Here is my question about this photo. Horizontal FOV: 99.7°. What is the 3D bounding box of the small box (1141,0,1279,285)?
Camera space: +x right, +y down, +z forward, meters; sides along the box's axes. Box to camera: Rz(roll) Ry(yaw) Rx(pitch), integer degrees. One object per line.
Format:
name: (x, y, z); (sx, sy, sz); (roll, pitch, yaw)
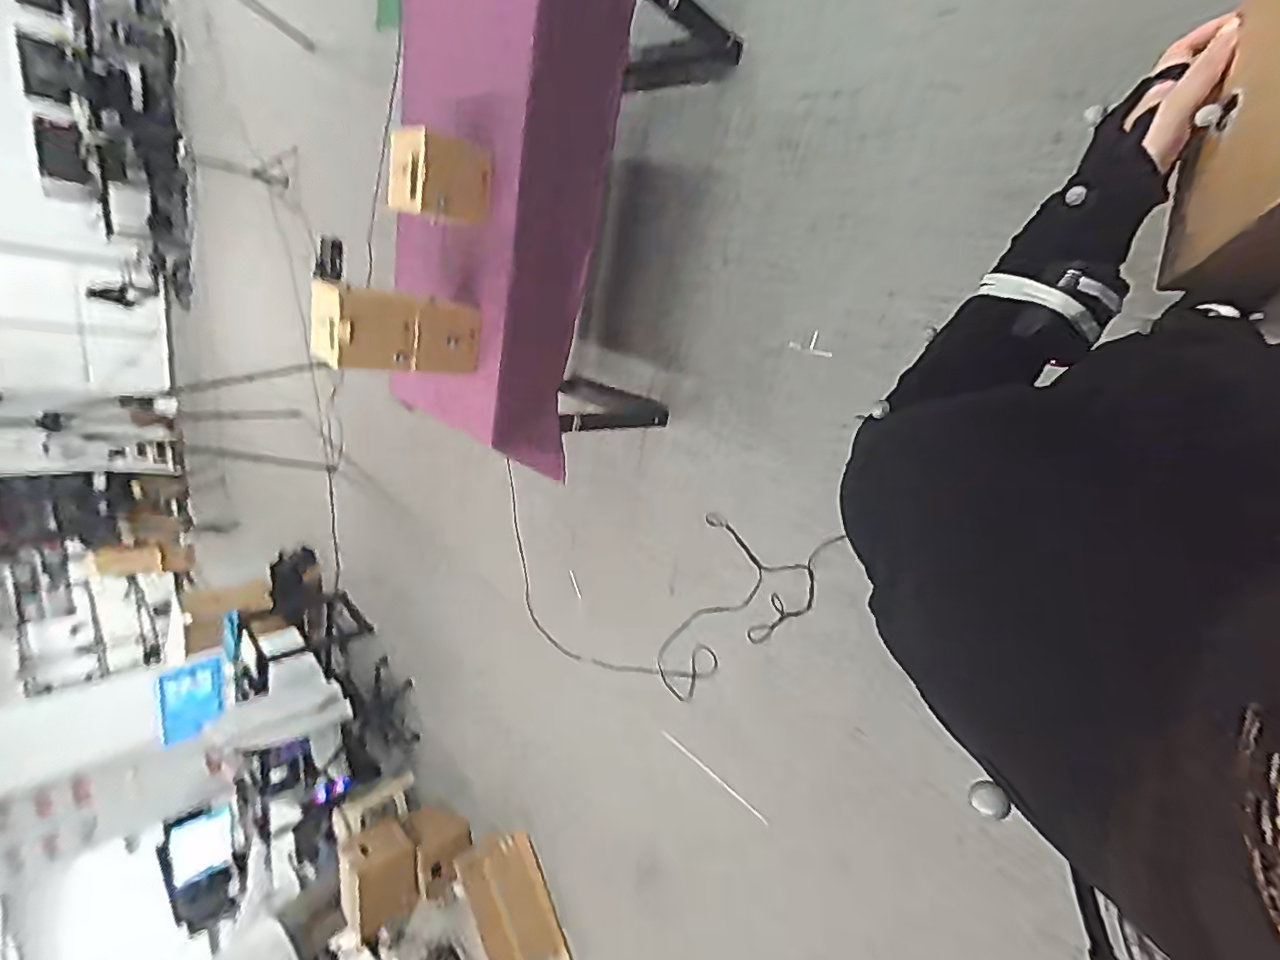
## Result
small box: (0.433, -0.215, 0.307); (0.179, 0.176, 0.168); (9, 98, 26)

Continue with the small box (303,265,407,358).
small box: (-0.659, -0.385, 1.251); (0.179, 0.176, 0.168); (30, 116, 36)

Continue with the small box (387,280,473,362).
small box: (-0.544, -0.400, 1.370); (0.179, 0.176, 0.168); (28, 114, 35)
